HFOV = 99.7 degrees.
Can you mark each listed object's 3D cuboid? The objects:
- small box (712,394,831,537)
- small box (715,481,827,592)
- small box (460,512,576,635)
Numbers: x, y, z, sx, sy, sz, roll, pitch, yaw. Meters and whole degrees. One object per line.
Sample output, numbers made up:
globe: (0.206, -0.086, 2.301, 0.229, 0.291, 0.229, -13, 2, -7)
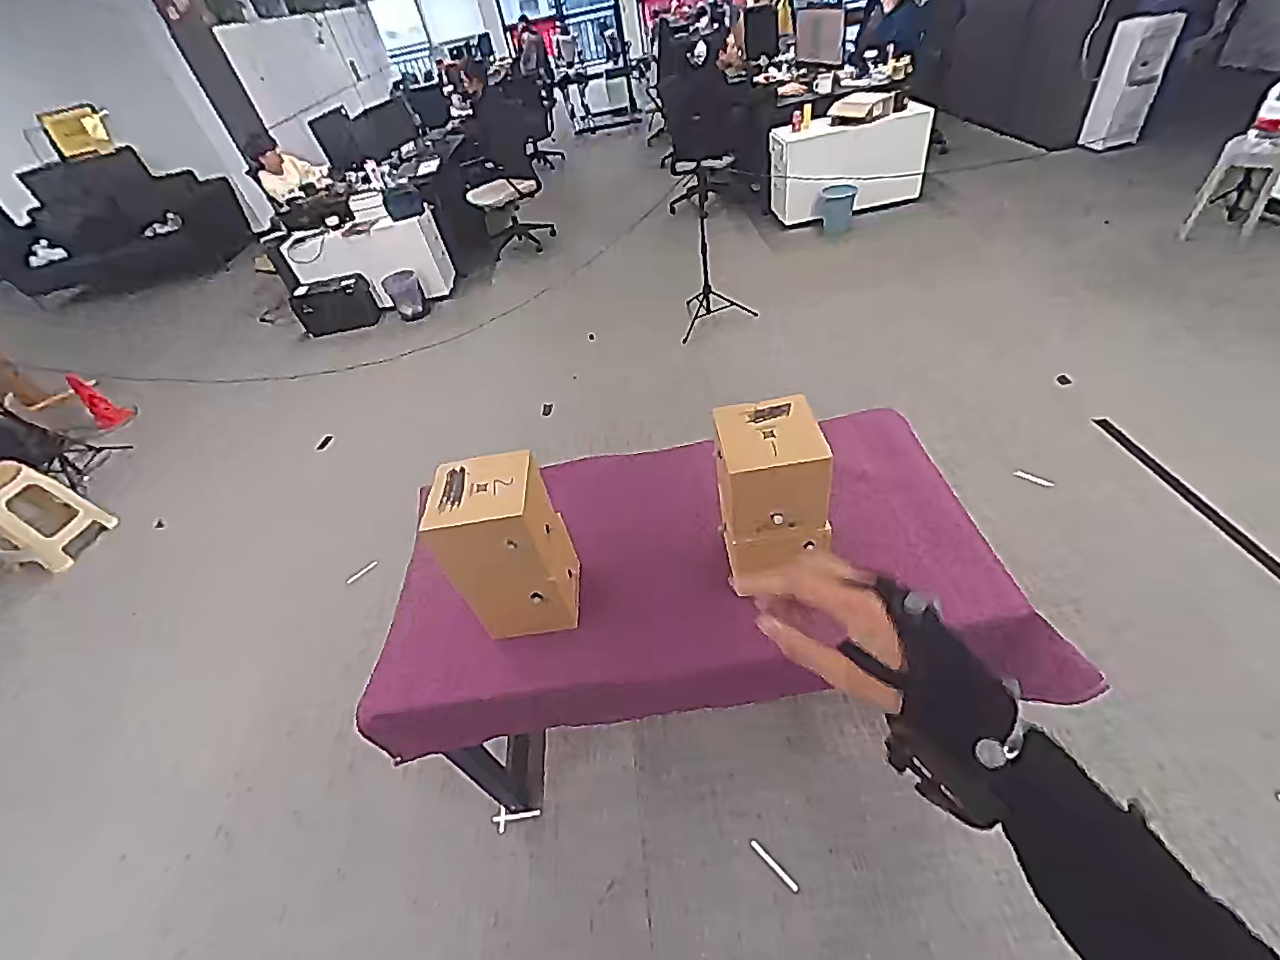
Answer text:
small box: (0.223, -0.024, 0.951, 0.168, 0.176, 0.179, -9, 44, 4)
small box: (0.251, 0.101, 1.055, 0.179, 0.176, 0.168, -9, 43, 3)
small box: (-0.229, 0.188, 1.074, 0.179, 0.176, 0.168, -9, 43, 4)
